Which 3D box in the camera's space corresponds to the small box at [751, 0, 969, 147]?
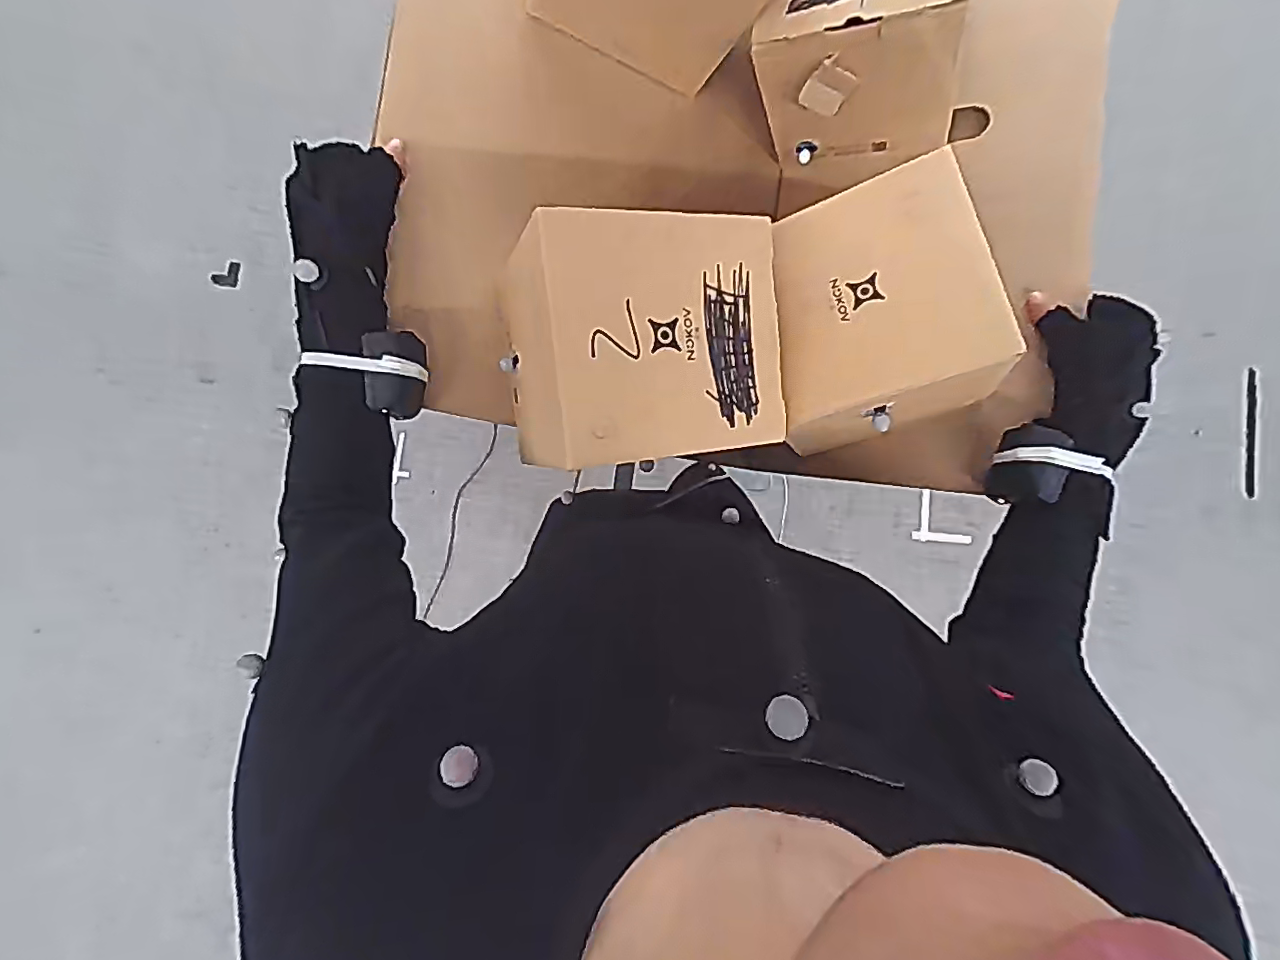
[{"bbox_3d":[0.215,-0.444,0.507,0.168,0.176,0.179,9,86,24],"label":"small box"}]
